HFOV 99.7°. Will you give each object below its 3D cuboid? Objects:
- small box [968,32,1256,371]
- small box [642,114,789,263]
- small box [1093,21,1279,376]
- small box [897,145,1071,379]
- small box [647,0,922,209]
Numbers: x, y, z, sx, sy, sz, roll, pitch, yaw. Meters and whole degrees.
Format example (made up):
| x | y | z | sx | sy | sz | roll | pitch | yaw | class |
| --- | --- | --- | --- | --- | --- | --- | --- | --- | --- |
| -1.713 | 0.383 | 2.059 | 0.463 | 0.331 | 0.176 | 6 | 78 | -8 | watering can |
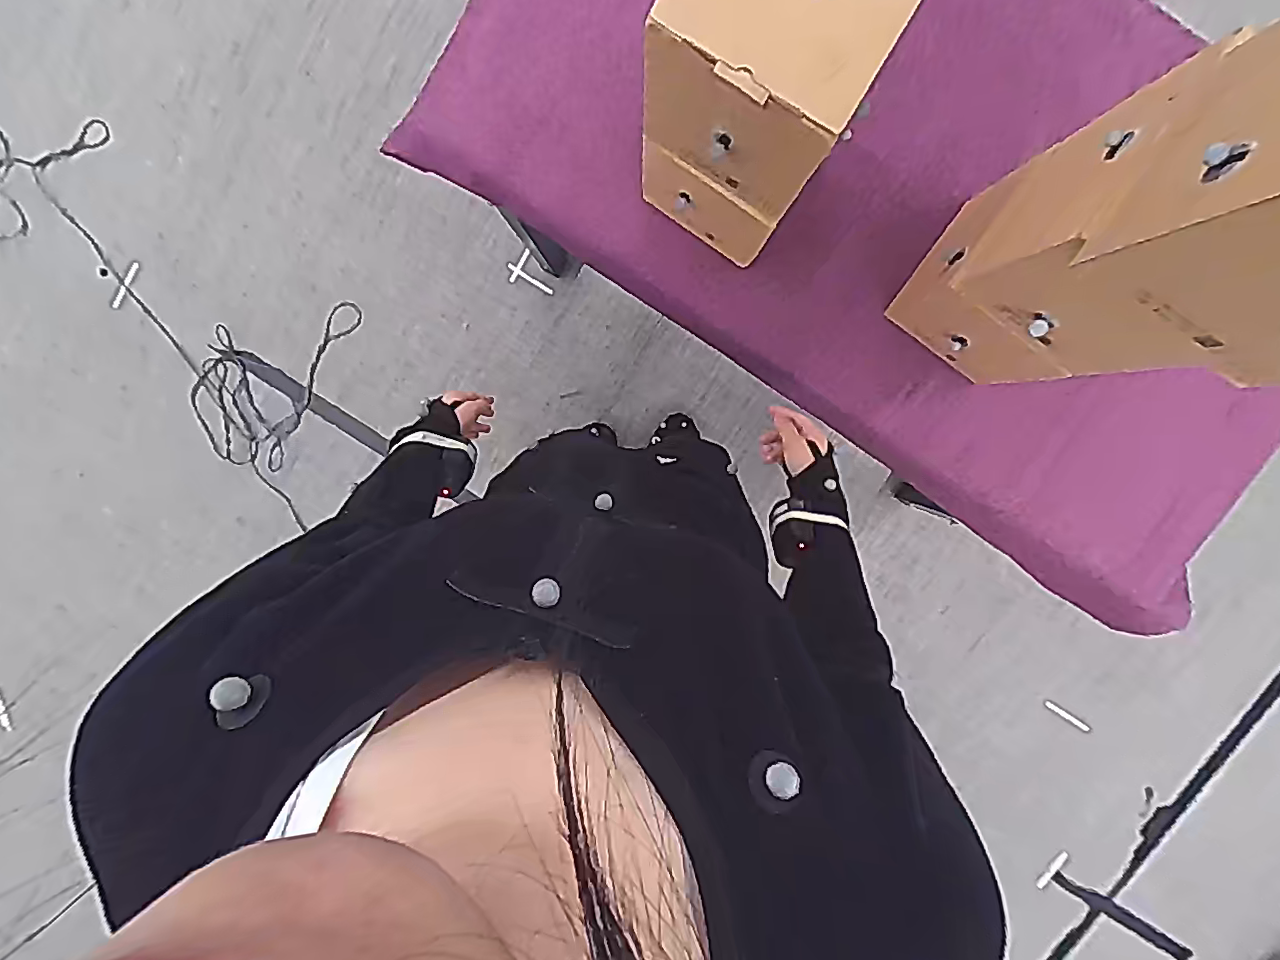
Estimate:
| x | y | z | sx | sy | sz | roll | pitch | yaw | class |
| --- | --- | --- | --- | --- | --- | --- | --- | --- | --- |
| 0.443 | -0.216 | 0.478 | 0.168 | 0.176 | 0.179 | 35 | 97 | -3 | small box |
| 0.118 | -0.385 | 0.626 | 0.168 | 0.176 | 0.179 | 34 | 95 | -4 | small box |
| 0.431 | -0.176 | 0.320 | 0.168 | 0.176 | 0.179 | 32 | 96 | -4 | small box |
| 0.440 | -0.235 | 0.641 | 0.168 | 0.176 | 0.179 | 36 | 96 | -4 | small box |
| 0.120 | -0.372 | 0.463 | 0.168 | 0.176 | 0.179 | 31 | 96 | -4 | small box |
